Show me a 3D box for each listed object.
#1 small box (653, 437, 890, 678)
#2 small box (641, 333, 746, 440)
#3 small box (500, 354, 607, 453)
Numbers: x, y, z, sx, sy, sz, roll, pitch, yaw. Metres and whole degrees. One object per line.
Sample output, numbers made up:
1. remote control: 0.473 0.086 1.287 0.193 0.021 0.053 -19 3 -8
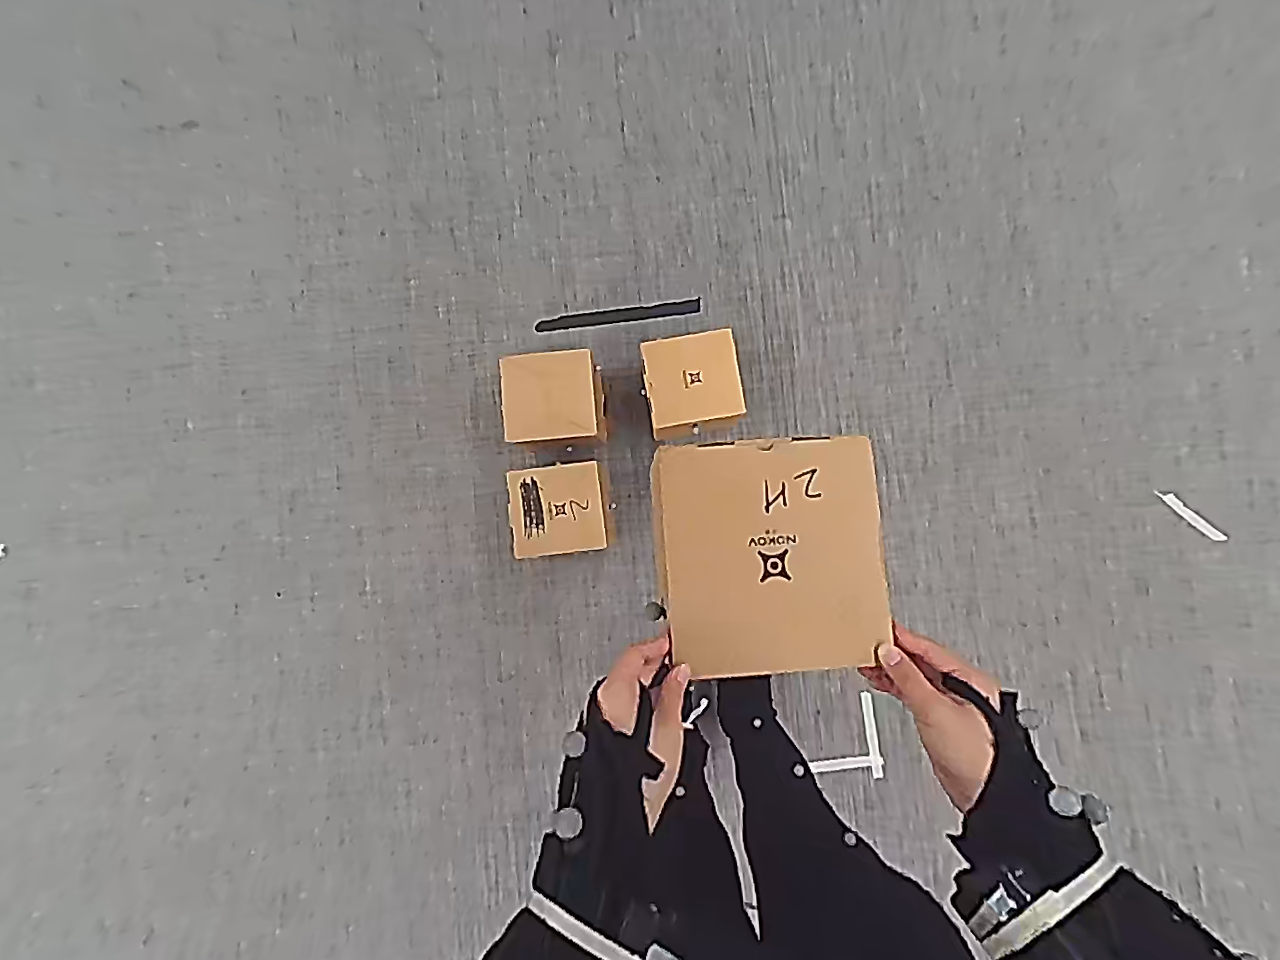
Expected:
1. small box: 0.100 0.065 0.487 0.168 0.176 0.179 -3 83 -2
2. small box: 0.102 -0.180 1.086 0.179 0.176 0.168 -10 87 3
3. small box: -0.167 -0.149 1.091 0.179 0.176 0.168 -5 87 2
